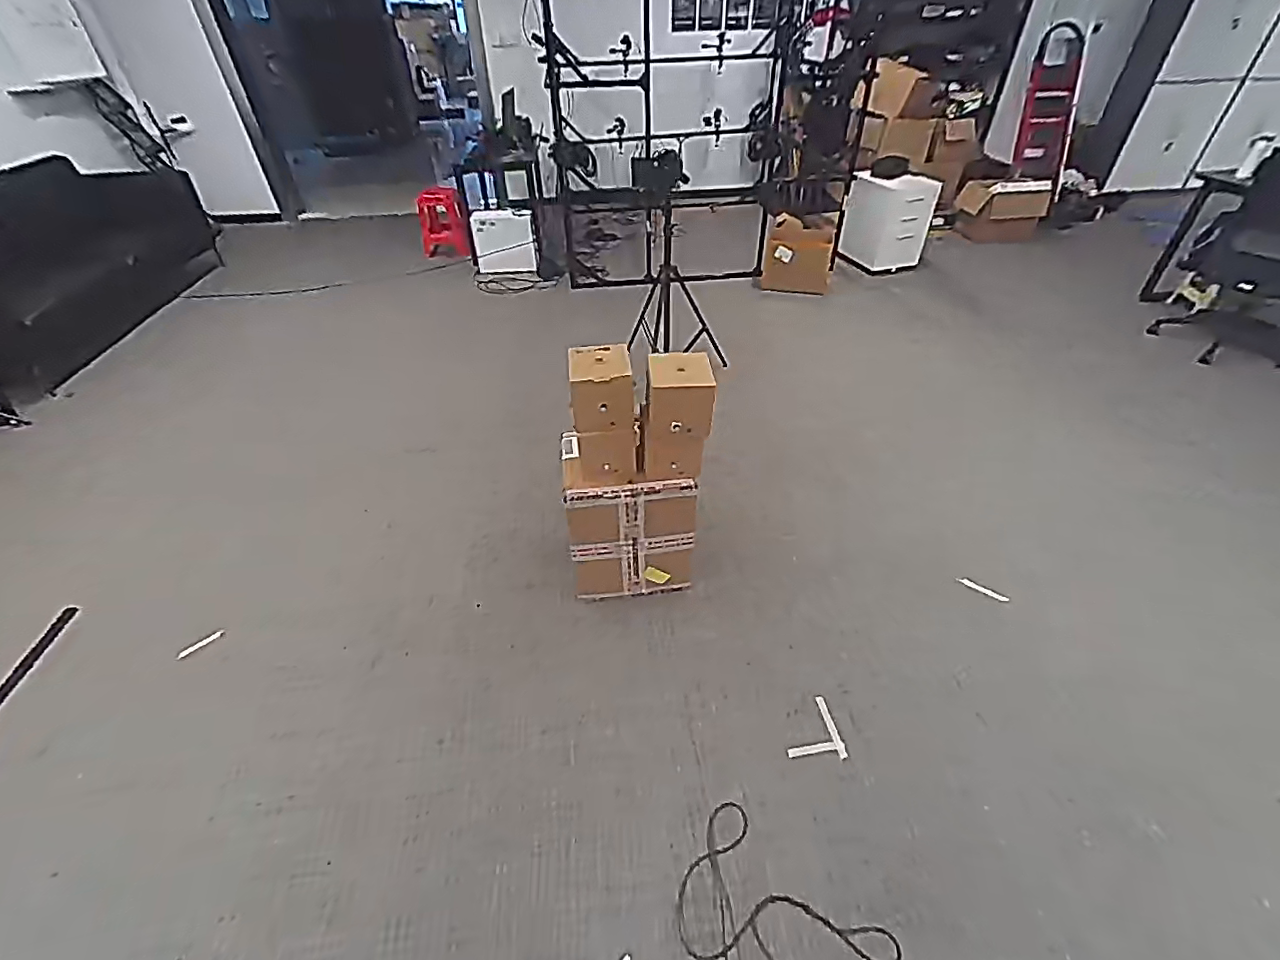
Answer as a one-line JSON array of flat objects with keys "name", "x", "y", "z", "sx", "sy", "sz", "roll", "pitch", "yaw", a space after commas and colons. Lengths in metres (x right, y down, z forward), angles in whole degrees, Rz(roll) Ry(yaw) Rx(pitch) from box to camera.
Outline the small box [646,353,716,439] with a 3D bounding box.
[{"name": "small box", "x": 0.104, "y": -0.229, "z": 1.476, "sx": 0.168, "sy": 0.176, "sz": 0.179, "roll": -3, "pitch": 43, "yaw": -4}]

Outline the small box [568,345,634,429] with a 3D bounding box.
[{"name": "small box", "x": -0.109, "y": -0.253, "z": 1.505, "sx": 0.168, "sy": 0.176, "sz": 0.179, "roll": -6, "pitch": 44, "yaw": -3}]

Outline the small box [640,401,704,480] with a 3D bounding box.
[{"name": "small box", "x": 0.089, "y": -0.121, "z": 1.600, "sx": 0.168, "sy": 0.176, "sz": 0.179, "roll": -4, "pitch": 42, "yaw": -5}]

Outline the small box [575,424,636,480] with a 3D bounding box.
[{"name": "small box", "x": -0.105, "y": -0.124, "z": 1.608, "sx": 0.168, "sy": 0.176, "sz": 0.179, "roll": -8, "pitch": 44, "yaw": -5}]
